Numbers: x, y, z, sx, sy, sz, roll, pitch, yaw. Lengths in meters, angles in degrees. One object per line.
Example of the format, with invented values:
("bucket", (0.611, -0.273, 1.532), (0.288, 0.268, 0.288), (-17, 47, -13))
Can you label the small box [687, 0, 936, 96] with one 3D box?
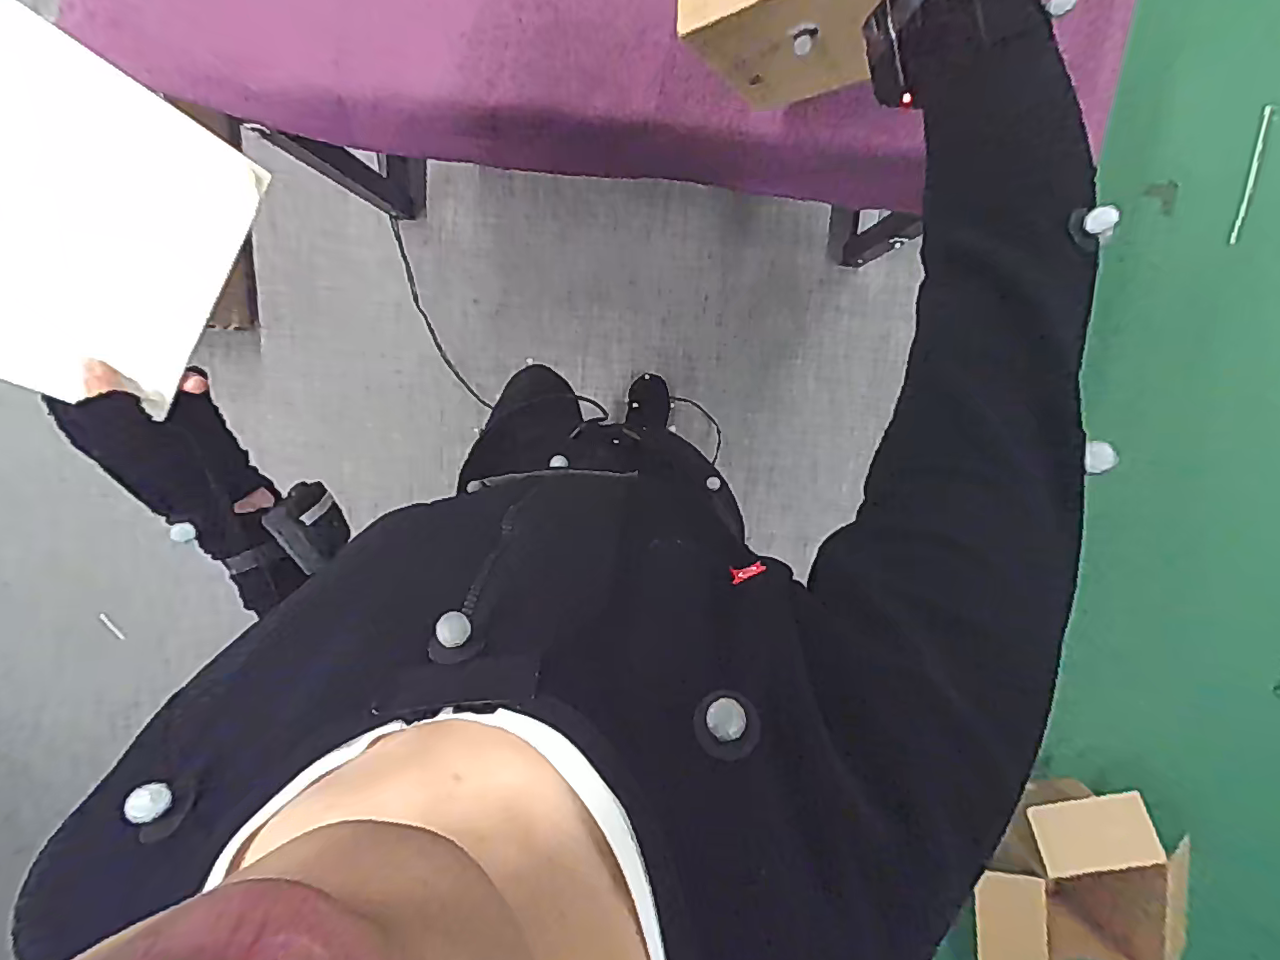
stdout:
("small box", (0.148, -0.472, 0.462), (0.176, 0.168, 0.179), (9, 103, 38))
